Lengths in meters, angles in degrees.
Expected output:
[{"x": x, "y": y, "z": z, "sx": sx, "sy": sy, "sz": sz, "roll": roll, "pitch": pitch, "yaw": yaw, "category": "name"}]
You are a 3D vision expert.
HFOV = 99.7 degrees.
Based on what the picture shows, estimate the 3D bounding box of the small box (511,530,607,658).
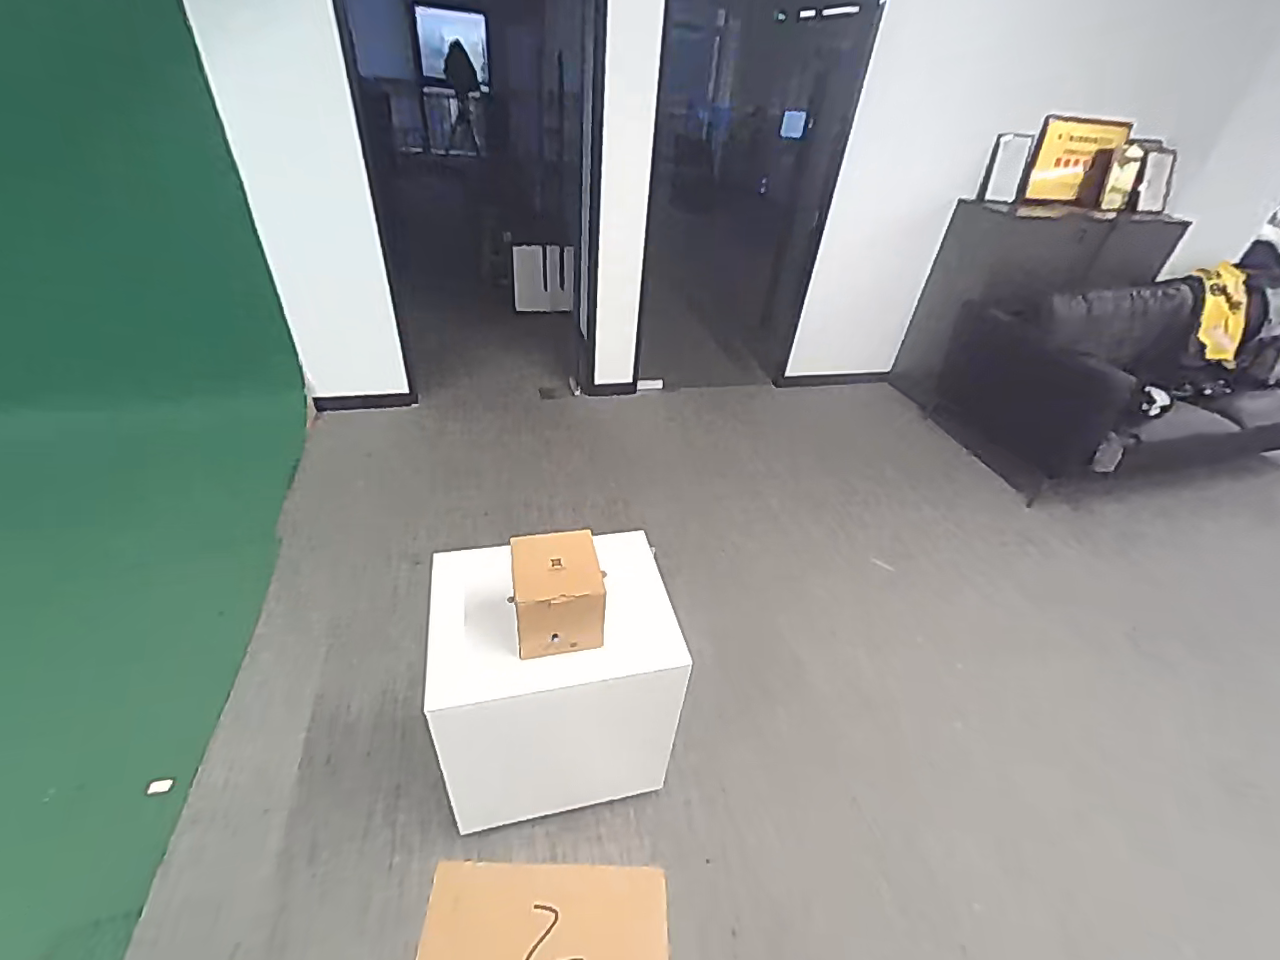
[{"x": -0.167, "y": 0.224, "z": 1.079, "sx": 0.168, "sy": 0.176, "sz": 0.179, "roll": -5, "pitch": 38, "yaw": -15, "category": "small box"}]
